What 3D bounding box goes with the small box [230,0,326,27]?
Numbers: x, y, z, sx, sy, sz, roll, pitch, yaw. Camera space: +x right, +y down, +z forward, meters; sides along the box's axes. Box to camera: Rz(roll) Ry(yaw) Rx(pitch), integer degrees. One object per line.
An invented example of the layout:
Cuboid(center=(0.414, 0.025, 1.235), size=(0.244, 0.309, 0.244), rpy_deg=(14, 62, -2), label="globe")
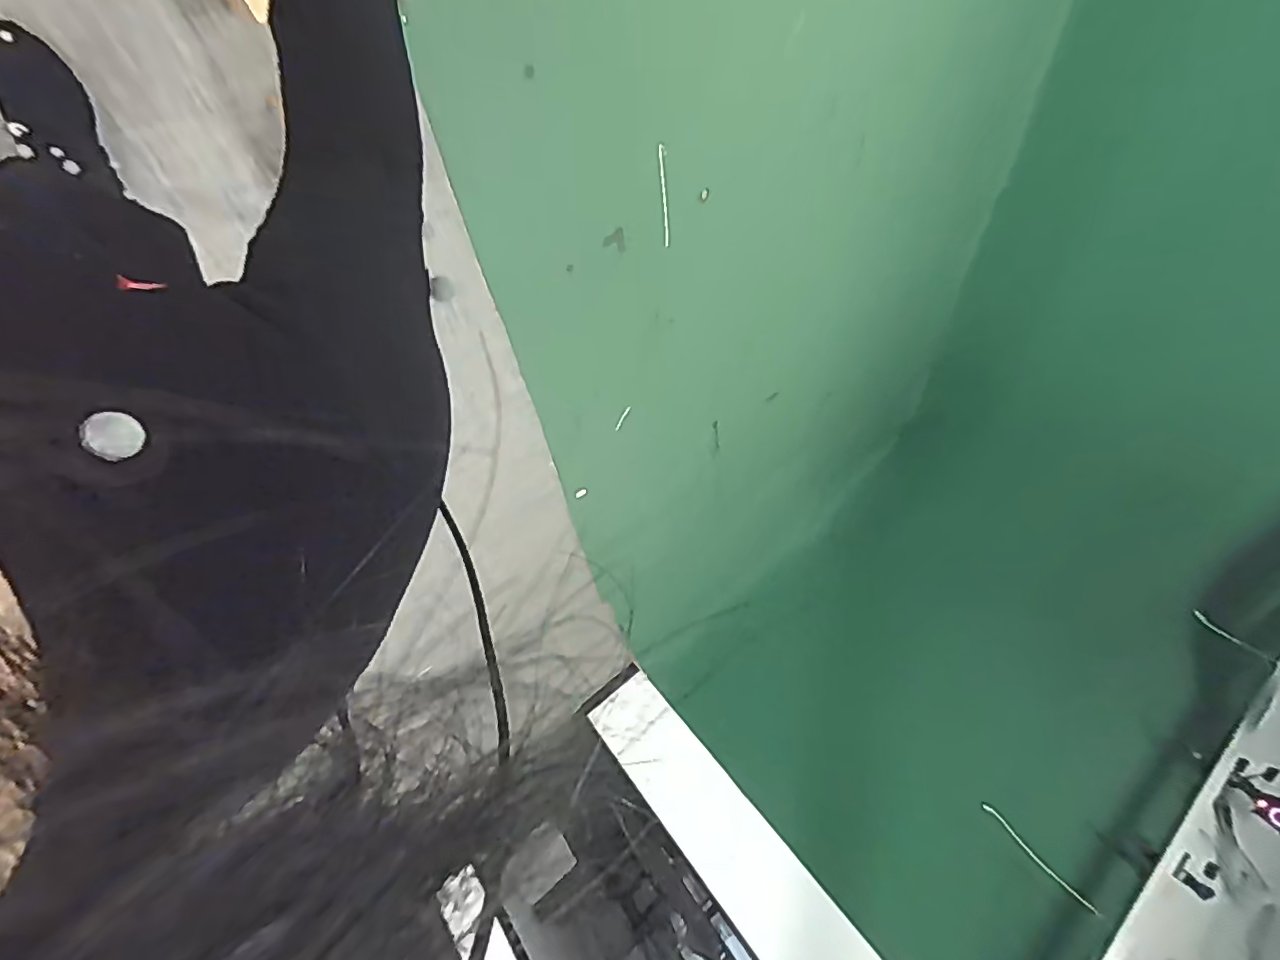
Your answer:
Cuboid(center=(-0.615, -0.872, 0.866), size=(0.168, 0.176, 0.179), rpy_deg=(-39, 145, -14), label="small box")
